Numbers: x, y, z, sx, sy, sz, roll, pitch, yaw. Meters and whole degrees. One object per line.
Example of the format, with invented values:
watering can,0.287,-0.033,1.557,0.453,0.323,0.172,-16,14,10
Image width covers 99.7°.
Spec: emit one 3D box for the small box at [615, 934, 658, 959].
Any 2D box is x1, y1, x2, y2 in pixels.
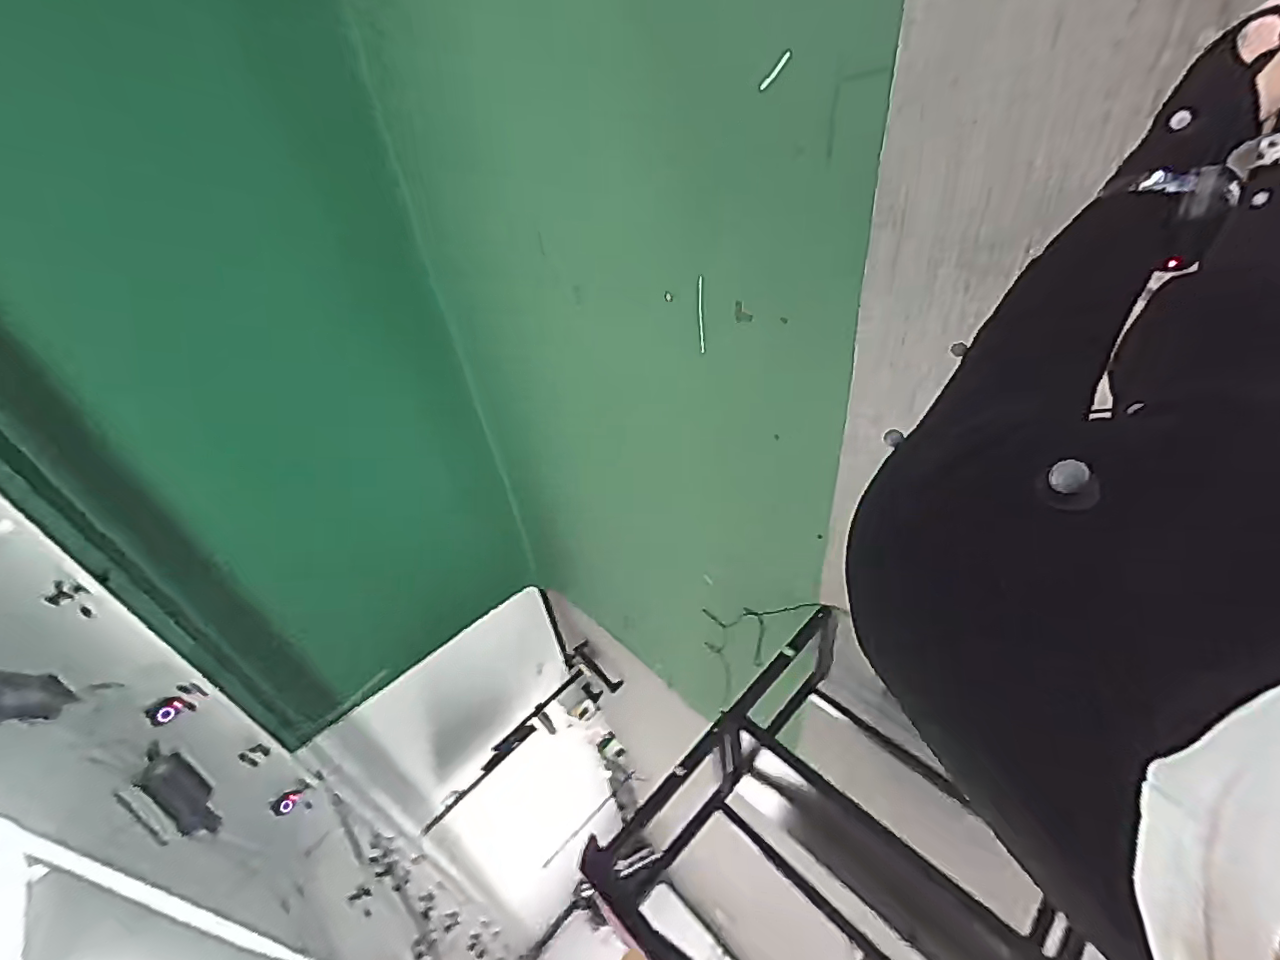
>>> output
small box,-0.008,1.552,1.667,0.168,0.176,0.179,33,146,31
